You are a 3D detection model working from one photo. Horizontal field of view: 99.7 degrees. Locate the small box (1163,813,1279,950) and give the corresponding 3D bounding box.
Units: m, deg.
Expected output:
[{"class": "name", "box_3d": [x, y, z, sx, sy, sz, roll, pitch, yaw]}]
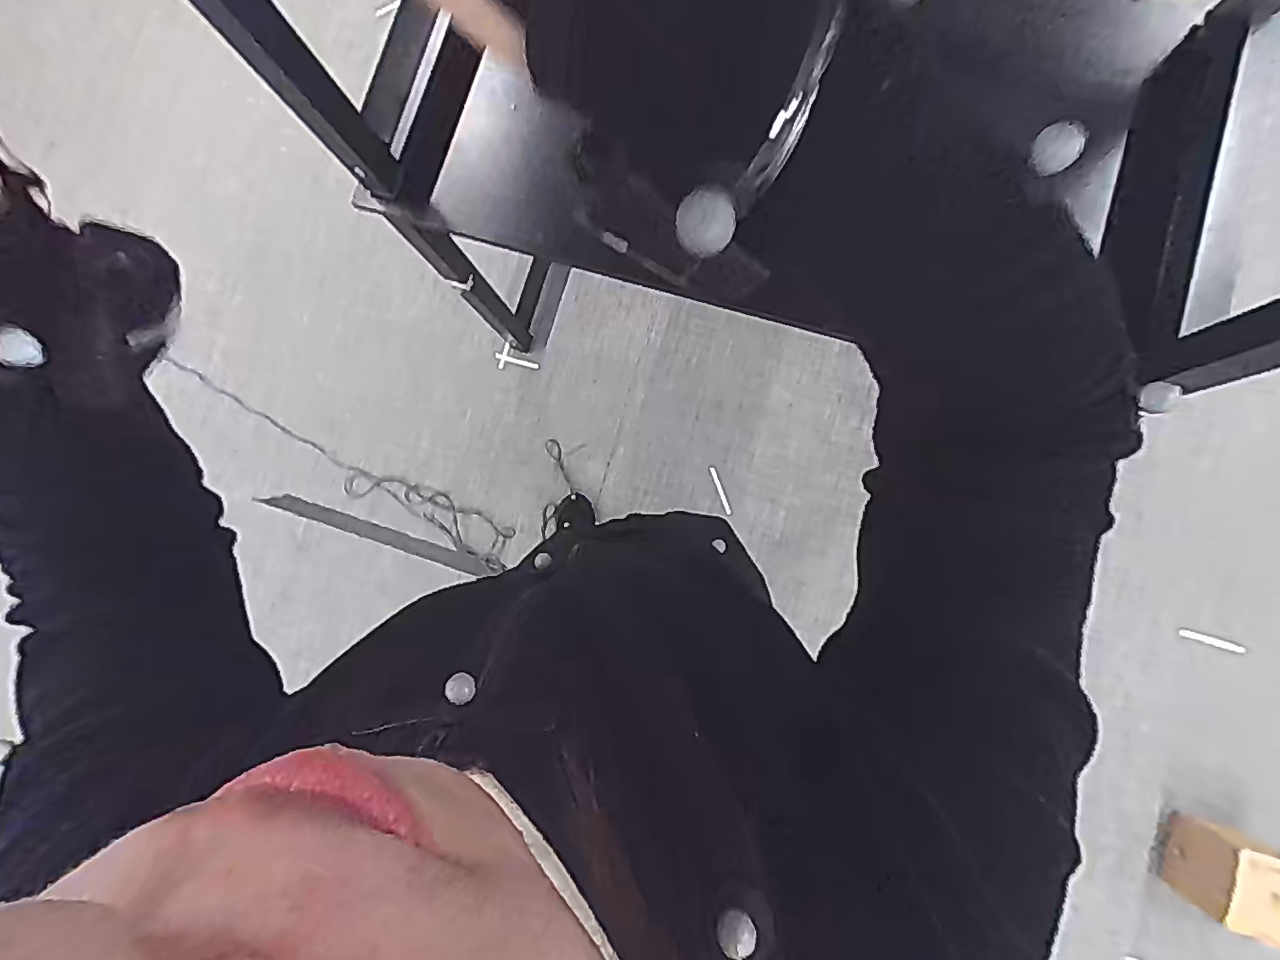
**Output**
[{"class": "small box", "box_3d": [1.349, 0.903, 1.220, 0.168, 0.176, 0.179, 16, 87, 7]}]
